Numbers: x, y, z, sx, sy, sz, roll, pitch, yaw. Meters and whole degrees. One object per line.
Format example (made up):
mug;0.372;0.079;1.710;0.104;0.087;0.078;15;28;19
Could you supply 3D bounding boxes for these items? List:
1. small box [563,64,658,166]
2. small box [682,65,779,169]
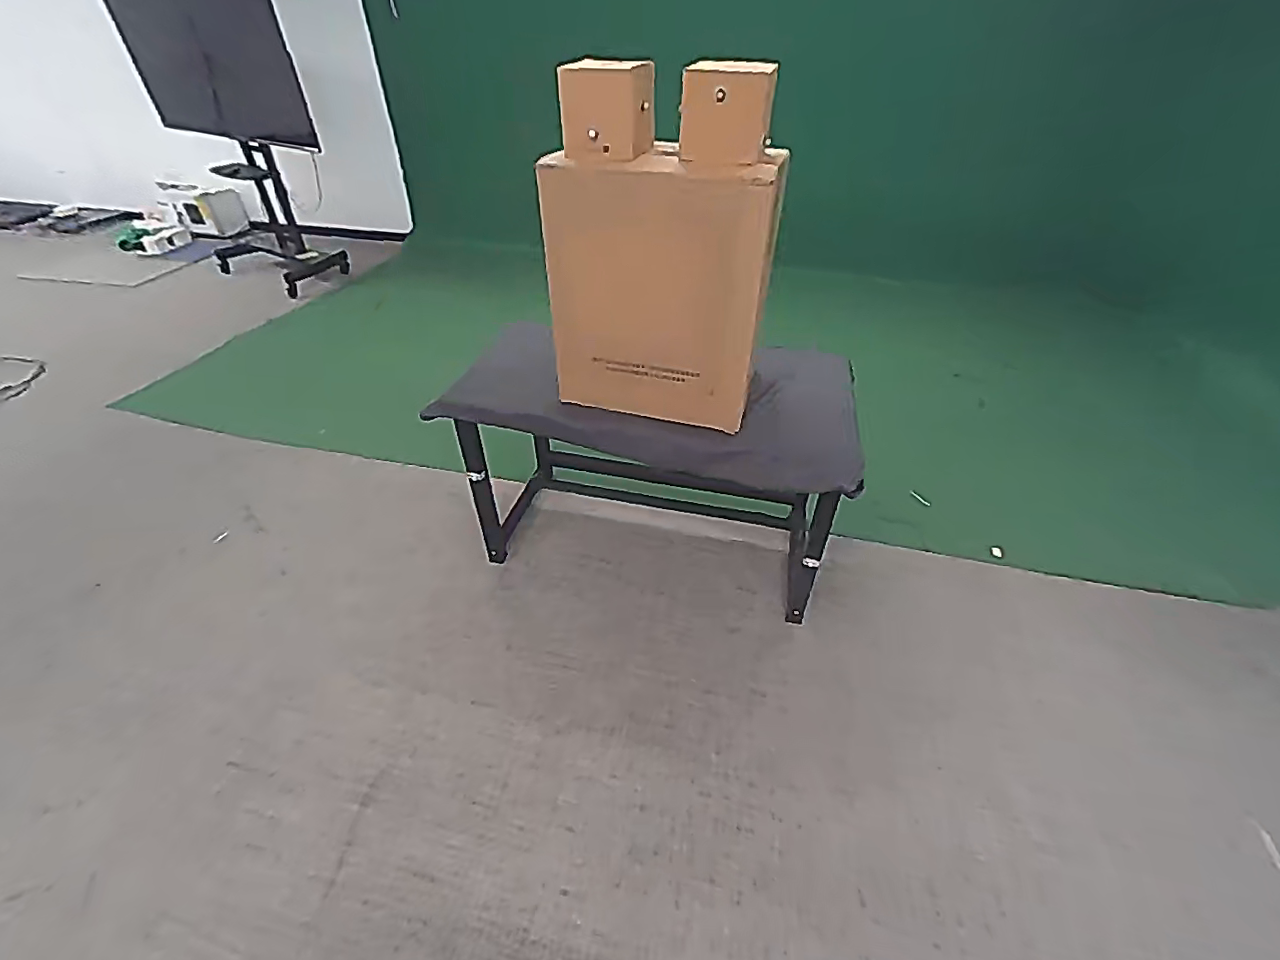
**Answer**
small box;-0.063;-0.839;1.238;0.168;0.176;0.179;11;43;14
small box;0.197;-0.805;1.199;0.179;0.176;0.168;13;44;11
